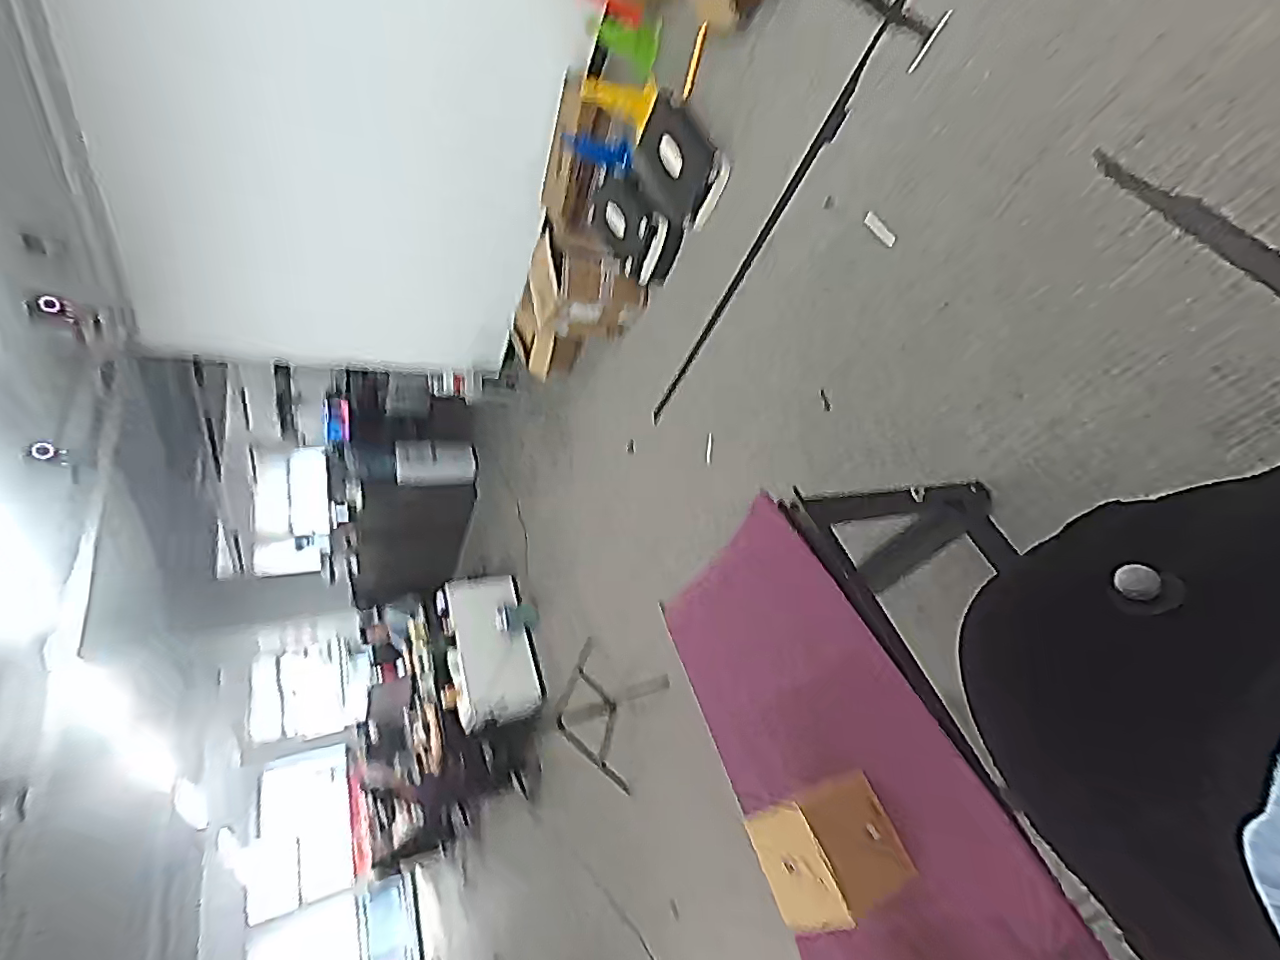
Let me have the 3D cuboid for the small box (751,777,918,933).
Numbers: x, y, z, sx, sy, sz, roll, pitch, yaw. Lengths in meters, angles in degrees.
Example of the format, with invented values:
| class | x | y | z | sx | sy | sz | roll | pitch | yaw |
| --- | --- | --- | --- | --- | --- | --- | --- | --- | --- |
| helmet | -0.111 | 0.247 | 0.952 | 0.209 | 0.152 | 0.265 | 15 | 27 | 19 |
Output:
| class | x | y | z | sx | sy | sz | roll | pitch | yaw |
| --- | --- | --- | --- | --- | --- | --- | --- | --- | --- |
| small box | 0.331 | 0.643 | 0.933 | 0.179 | 0.176 | 0.168 | -59 | 45 | 42 |
